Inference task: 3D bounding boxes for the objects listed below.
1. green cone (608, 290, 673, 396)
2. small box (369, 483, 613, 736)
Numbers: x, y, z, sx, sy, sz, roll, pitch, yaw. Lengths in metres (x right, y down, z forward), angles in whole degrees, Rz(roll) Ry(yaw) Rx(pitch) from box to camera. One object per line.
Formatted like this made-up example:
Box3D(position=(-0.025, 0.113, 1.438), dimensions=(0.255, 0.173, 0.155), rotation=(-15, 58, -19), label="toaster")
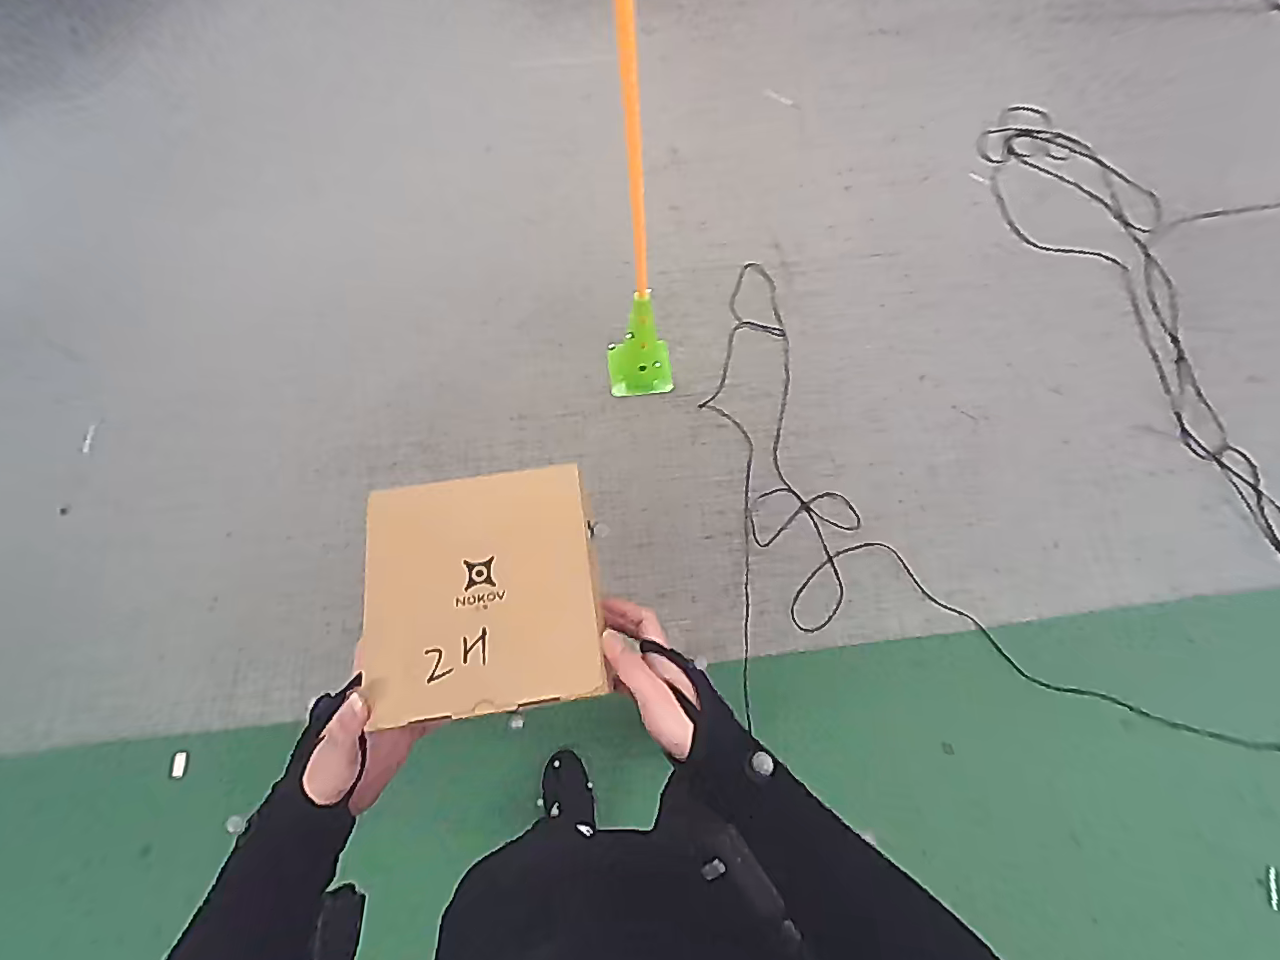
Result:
Box3D(position=(0.007, -0.429, 1.623), dimensions=(0.202, 0.368, 0.200), rotation=(-6, 70, -5), label="green cone")
Box3D(position=(-0.114, 0.119, 0.478), dimensions=(0.168, 0.176, 0.179), rotation=(-6, 68, -3), label="small box")
